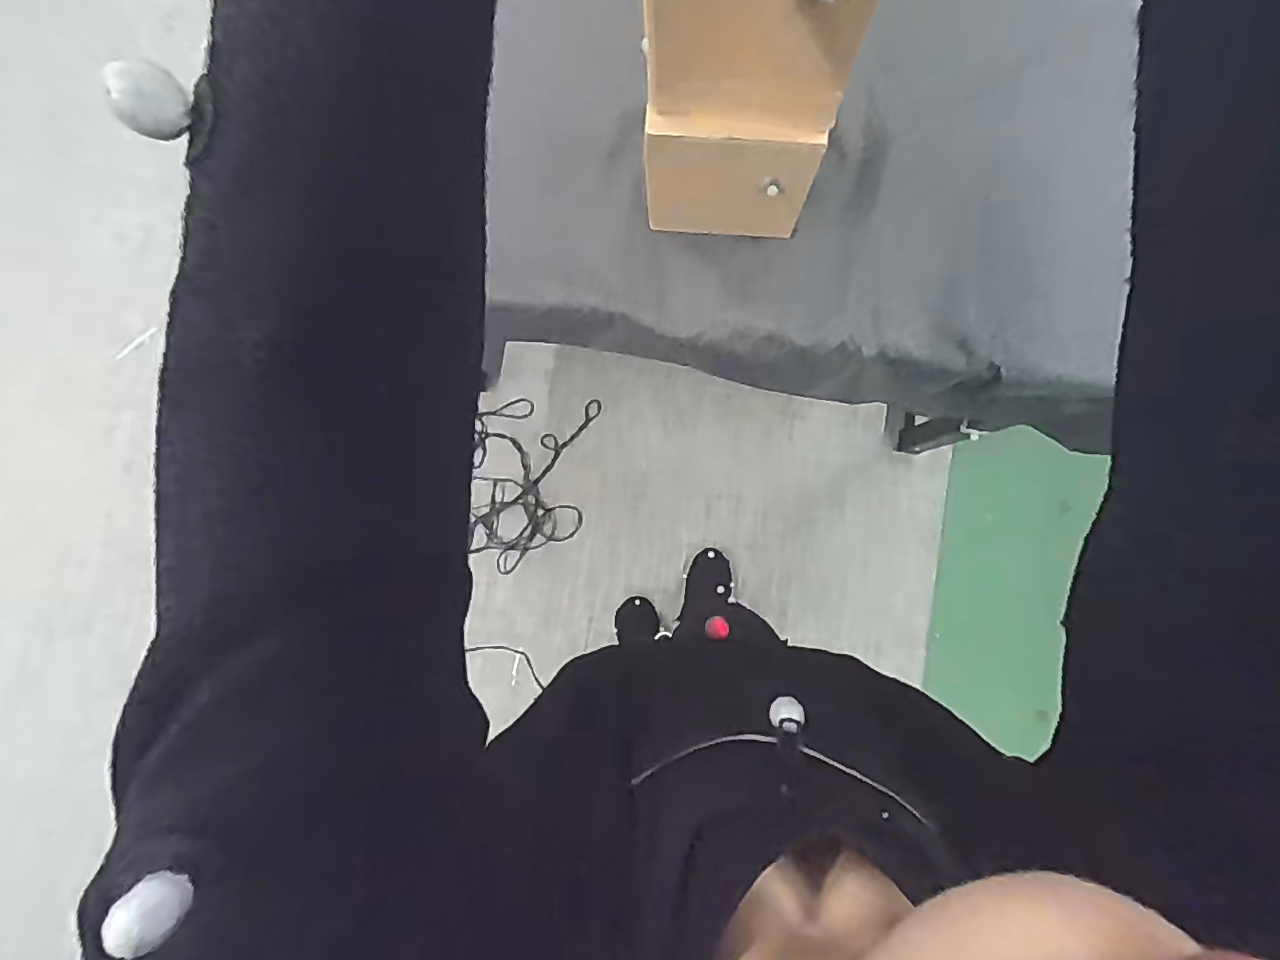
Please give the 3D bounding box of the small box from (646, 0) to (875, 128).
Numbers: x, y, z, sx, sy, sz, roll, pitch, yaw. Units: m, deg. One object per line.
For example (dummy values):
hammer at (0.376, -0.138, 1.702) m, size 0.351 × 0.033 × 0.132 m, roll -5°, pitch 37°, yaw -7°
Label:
small box at (0.099, -0.422, 0.436) m, size 0.179 × 0.176 × 0.168 m, roll 8°, pitch 85°, yaw 3°
